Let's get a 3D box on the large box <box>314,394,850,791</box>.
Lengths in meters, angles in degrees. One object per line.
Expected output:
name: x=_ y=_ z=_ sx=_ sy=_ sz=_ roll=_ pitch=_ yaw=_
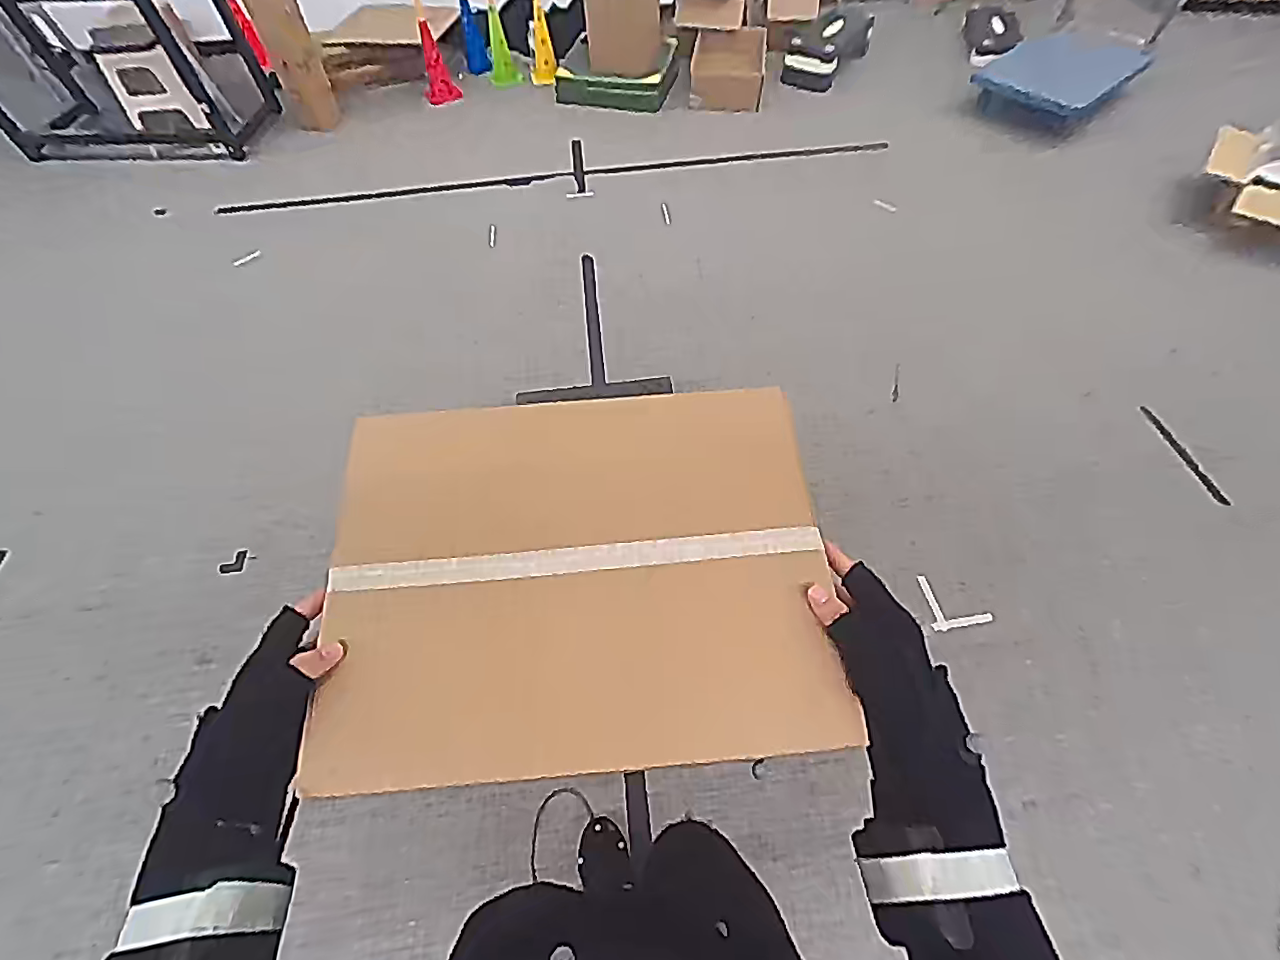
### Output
large box: x=-0.050 y=0.131 z=0.592 sx=0.408 sy=0.320 sz=0.320 roll=-4 pitch=64 yaw=-2
